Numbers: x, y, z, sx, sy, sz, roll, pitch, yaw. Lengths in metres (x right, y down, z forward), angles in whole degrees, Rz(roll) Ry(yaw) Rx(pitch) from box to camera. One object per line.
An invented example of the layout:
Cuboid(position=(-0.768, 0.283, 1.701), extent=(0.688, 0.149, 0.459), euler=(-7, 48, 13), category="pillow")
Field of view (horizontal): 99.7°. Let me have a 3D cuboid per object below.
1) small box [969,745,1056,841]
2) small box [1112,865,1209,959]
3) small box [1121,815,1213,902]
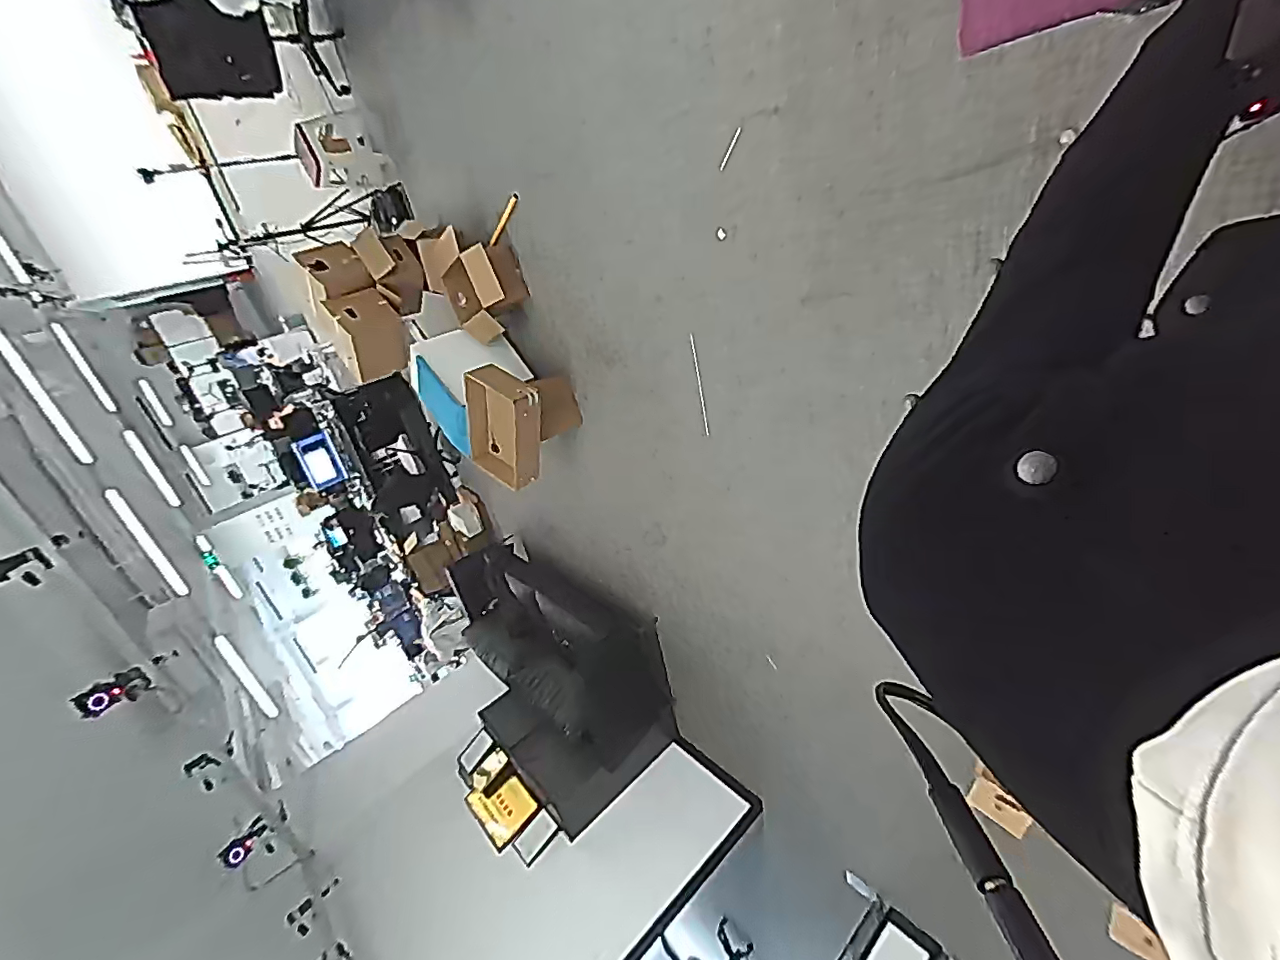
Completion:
Cuboid(position=(1.199, 0.996, 1.737), extent=(0.168, 0.176, 0.179), euler=(29, 139, 41), category="small box")
Cuboid(position=(1.487, 1.263, 1.544), extent=(0.168, 0.176, 0.179), euler=(15, 128, 51), category="small box")
Cuboid(position=(1.595, 1.175, 1.637), extent=(0.168, 0.176, 0.179), euler=(13, 126, 51), category="small box")
